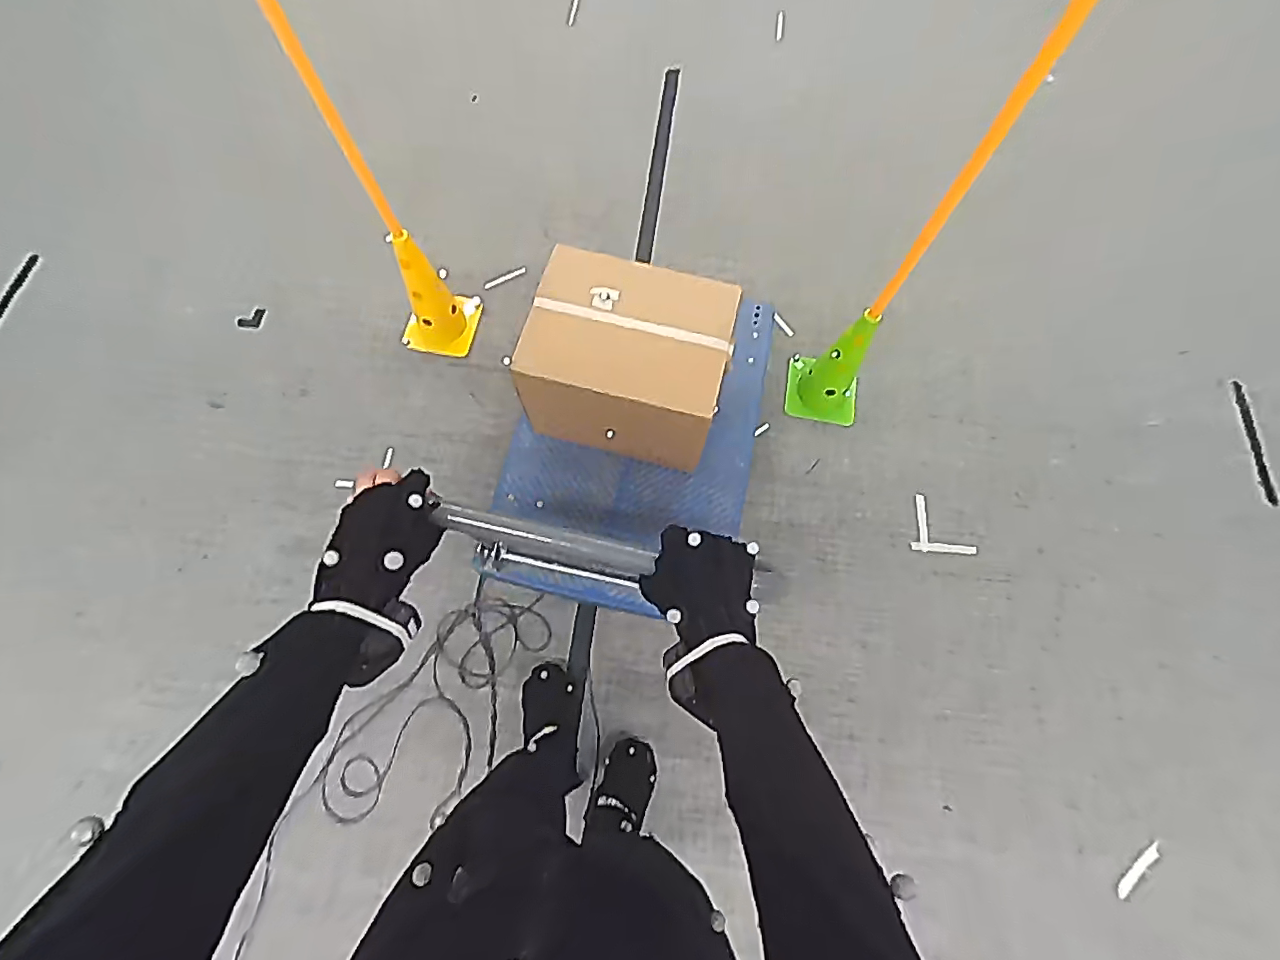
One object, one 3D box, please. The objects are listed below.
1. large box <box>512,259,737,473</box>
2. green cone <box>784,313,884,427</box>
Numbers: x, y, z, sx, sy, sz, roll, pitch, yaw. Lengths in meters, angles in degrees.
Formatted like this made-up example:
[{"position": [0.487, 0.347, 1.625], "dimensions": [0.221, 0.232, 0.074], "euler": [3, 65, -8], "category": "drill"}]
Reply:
[{"position": [-0.025, -0.242, 1.234], "dimensions": [0.408, 0.320, 0.320], "euler": [14, 71, 4], "category": "large box"}, {"position": [0.535, -0.312, 1.425], "dimensions": [0.202, 0.368, 0.200], "euler": [11, 71, 1], "category": "green cone"}]
